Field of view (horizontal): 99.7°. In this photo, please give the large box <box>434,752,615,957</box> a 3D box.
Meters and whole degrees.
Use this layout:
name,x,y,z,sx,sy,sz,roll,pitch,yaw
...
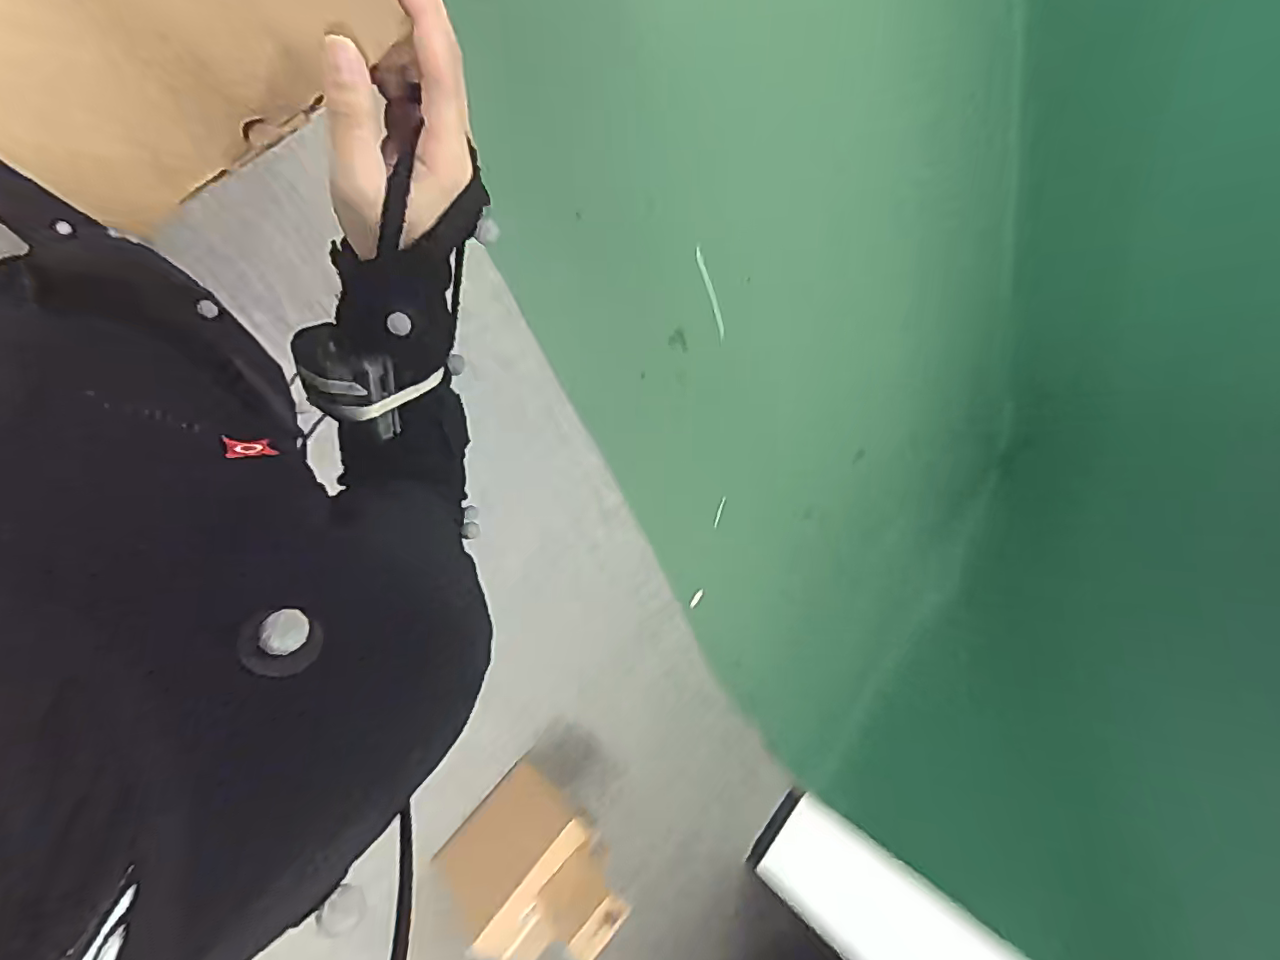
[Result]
name,x,y,z,sx,sy,sz,roll,pitch,yaw
large box,-0.364,1.175,1.725,0.408,0.320,0.320,-45,128,-19
